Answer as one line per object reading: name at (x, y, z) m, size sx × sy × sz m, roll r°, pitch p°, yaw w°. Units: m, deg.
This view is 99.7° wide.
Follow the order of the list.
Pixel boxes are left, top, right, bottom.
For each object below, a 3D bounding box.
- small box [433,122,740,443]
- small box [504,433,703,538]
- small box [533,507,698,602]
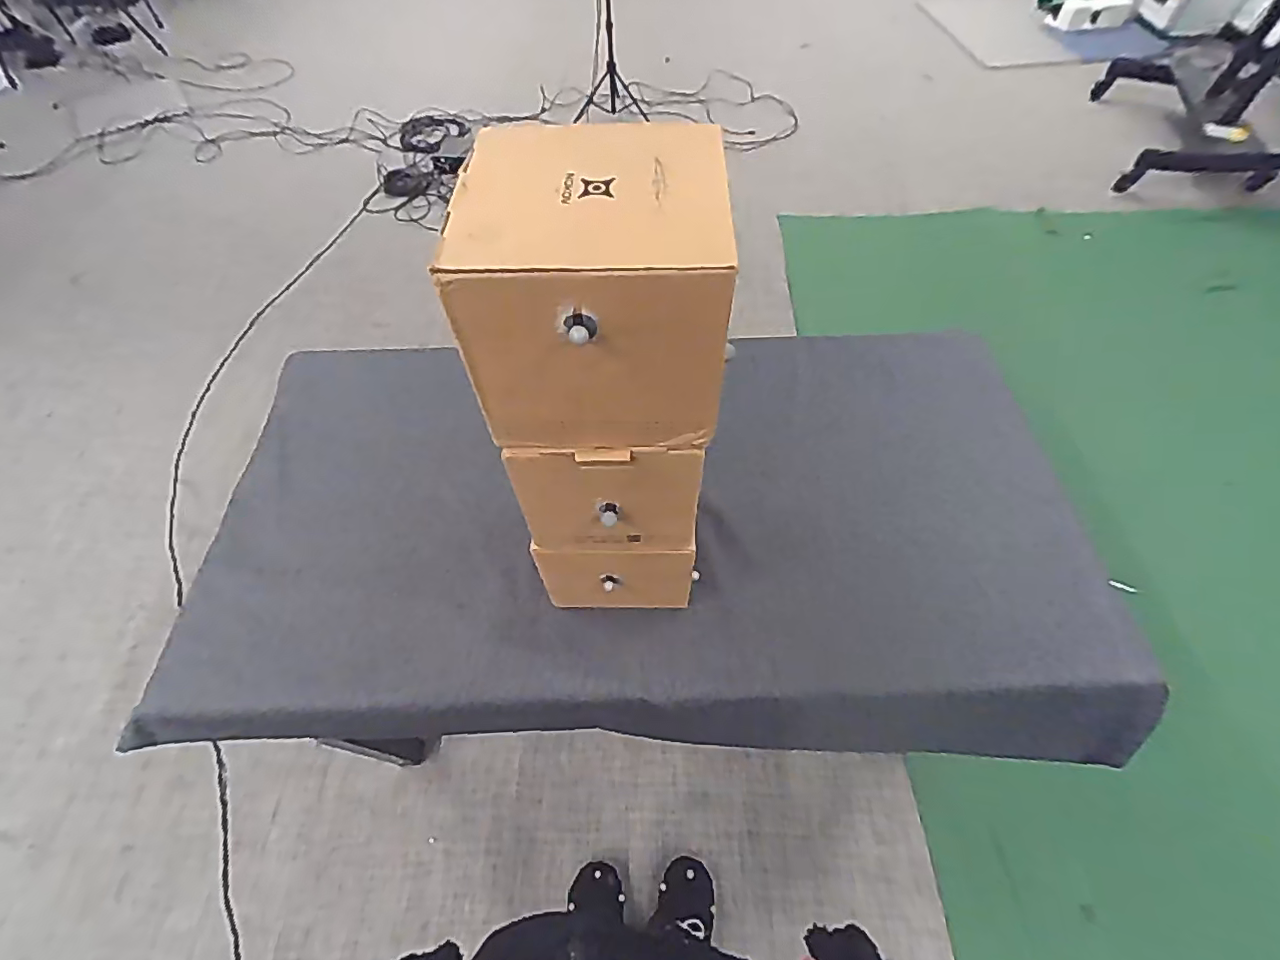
small box at (-0.027, -0.140, 0.410) m, size 0.179 × 0.176 × 0.168 m, roll 0°, pitch 58°, yaw 1°
small box at (-0.026, -0.050, 0.545) m, size 0.168 × 0.176 × 0.179 m, roll -1°, pitch 57°, yaw 1°
small box at (-0.023, 0.046, 0.677) m, size 0.179 × 0.176 × 0.168 m, roll 0°, pitch 57°, yaw 2°
